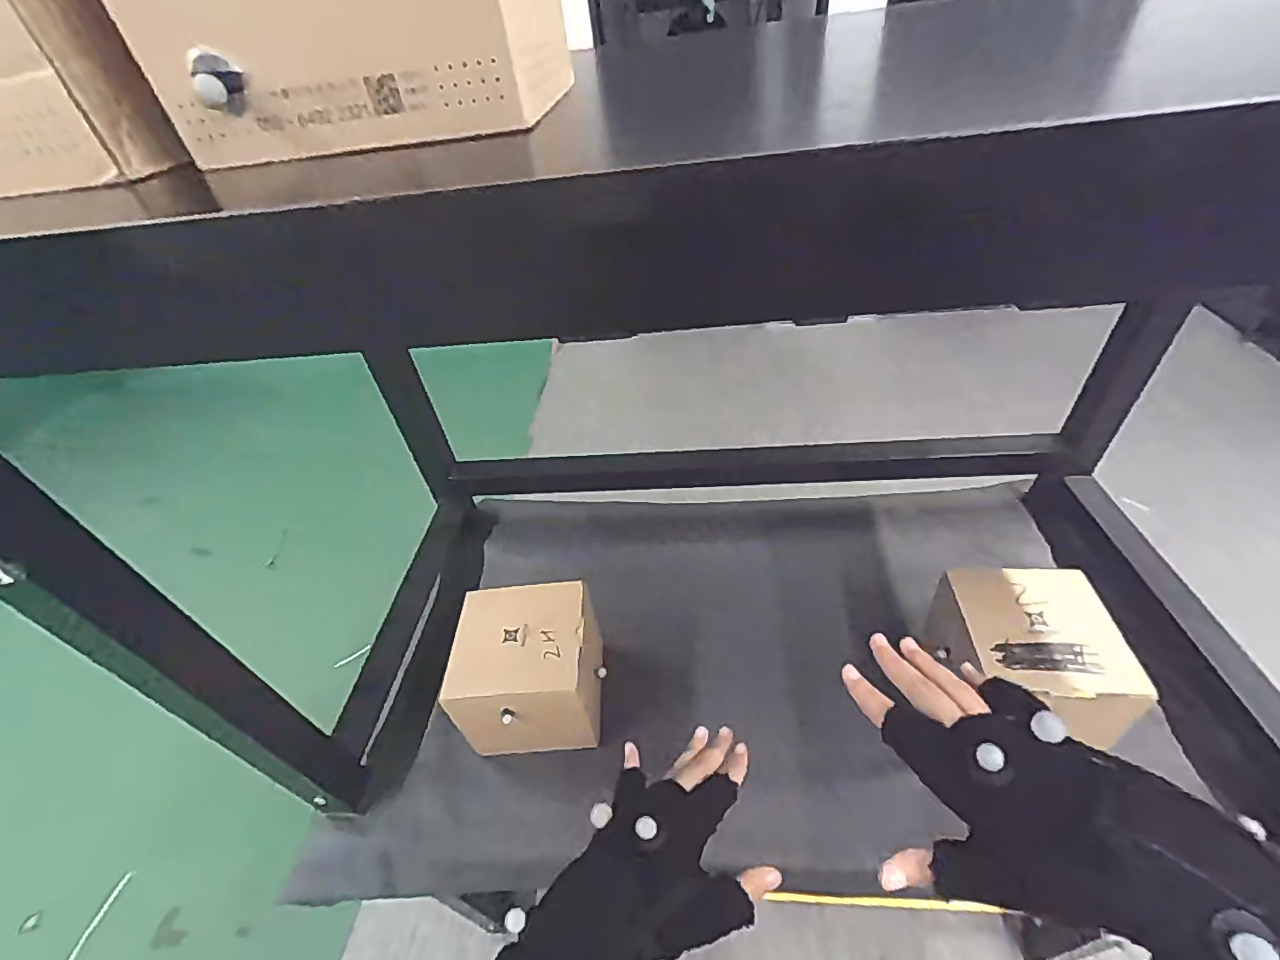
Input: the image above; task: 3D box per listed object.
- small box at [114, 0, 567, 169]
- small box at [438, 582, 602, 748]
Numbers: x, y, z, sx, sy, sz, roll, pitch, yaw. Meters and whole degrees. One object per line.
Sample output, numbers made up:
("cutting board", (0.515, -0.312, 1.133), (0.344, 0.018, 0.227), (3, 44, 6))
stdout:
("small box", (-0.139, -0.266, 0.267), (0.168, 0.176, 0.179), (-3, 41, 6))
("small box", (-0.157, 0.267, 0.774), (0.179, 0.176, 0.168), (-5, 42, 3))
